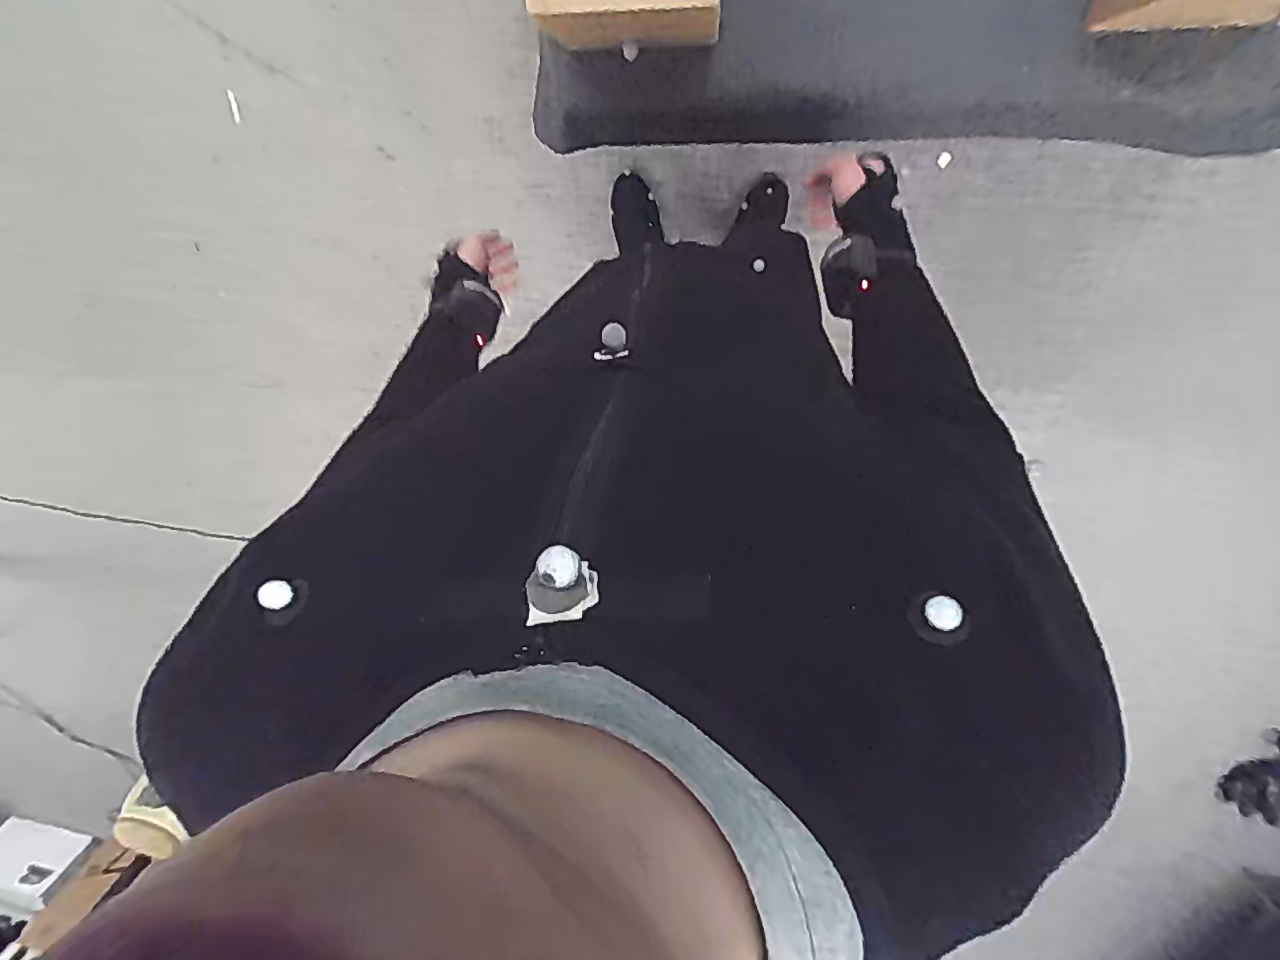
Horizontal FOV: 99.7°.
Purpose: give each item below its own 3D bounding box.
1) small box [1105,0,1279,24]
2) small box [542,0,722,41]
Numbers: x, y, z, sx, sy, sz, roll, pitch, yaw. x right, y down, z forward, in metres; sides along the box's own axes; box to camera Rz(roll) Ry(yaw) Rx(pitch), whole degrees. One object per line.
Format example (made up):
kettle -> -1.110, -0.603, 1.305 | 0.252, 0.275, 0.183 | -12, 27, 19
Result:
small box -> 0.512, -0.475, 0.413 | 0.168, 0.176, 0.179 | 2, 119, 5
small box -> -0.007, -0.504, 0.462 | 0.168, 0.176, 0.179 | 3, 120, 6
